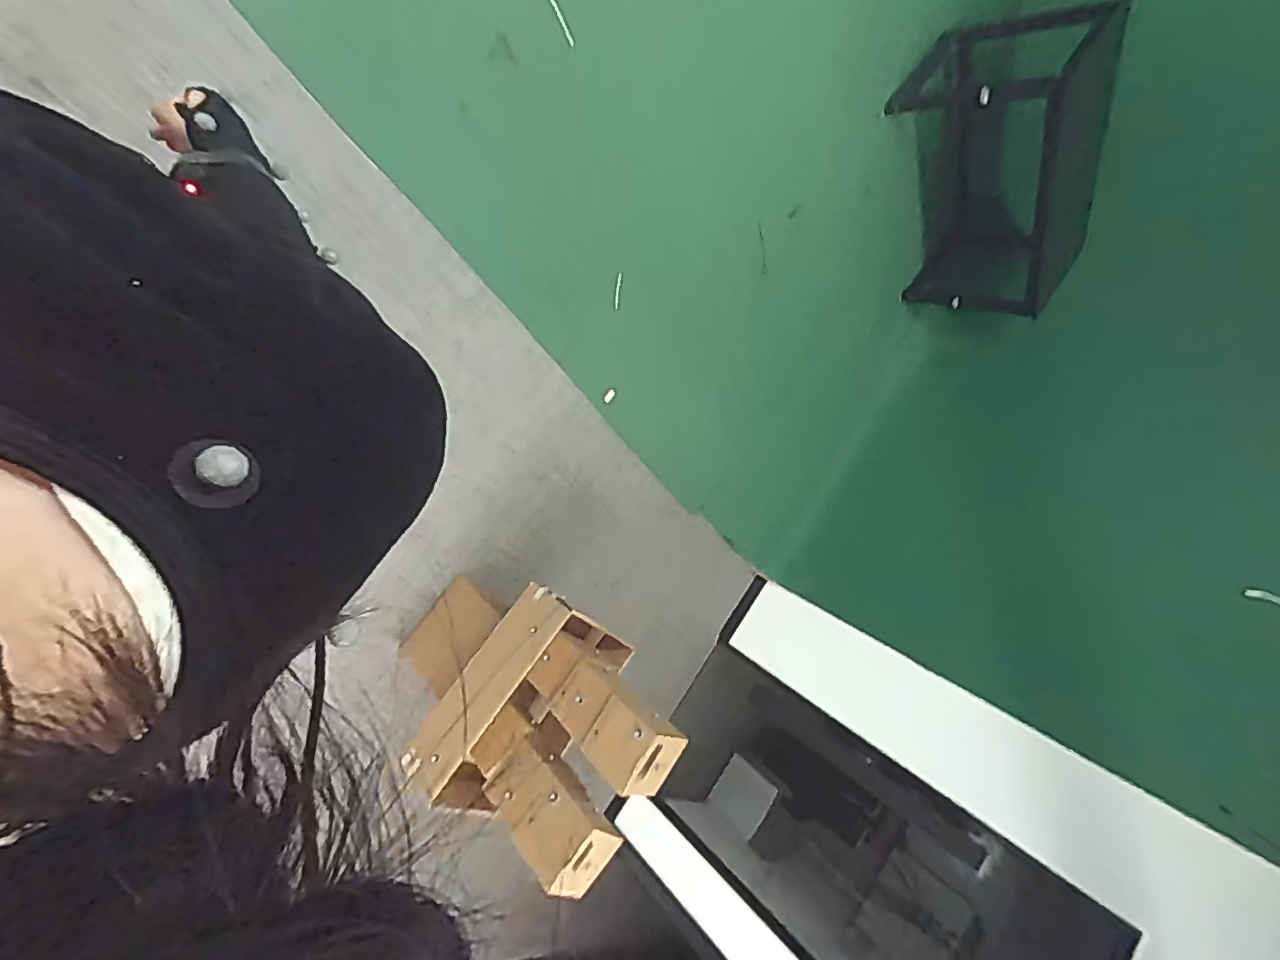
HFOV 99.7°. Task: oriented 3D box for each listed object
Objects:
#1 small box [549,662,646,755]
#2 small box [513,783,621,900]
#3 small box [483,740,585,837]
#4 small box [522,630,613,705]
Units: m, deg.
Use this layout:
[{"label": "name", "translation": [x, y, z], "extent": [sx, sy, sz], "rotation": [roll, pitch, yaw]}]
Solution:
[{"label": "small box", "translation": [-0.123, 0.637, 1.517], "extent": [0.168, 0.176, 0.179], "rotation": [-55, 138, -7]}, {"label": "small box", "translation": [-0.184, 0.896, 1.348], "extent": [0.168, 0.176, 0.179], "rotation": [-46, 137, -16]}, {"label": "small box", "translation": [-0.289, 0.837, 1.459], "extent": [0.168, 0.176, 0.179], "rotation": [-49, 137, -14]}, {"label": "small box", "translation": [-0.220, 0.579, 1.637], "extent": [0.168, 0.176, 0.179], "rotation": [-56, 138, -8]}]
